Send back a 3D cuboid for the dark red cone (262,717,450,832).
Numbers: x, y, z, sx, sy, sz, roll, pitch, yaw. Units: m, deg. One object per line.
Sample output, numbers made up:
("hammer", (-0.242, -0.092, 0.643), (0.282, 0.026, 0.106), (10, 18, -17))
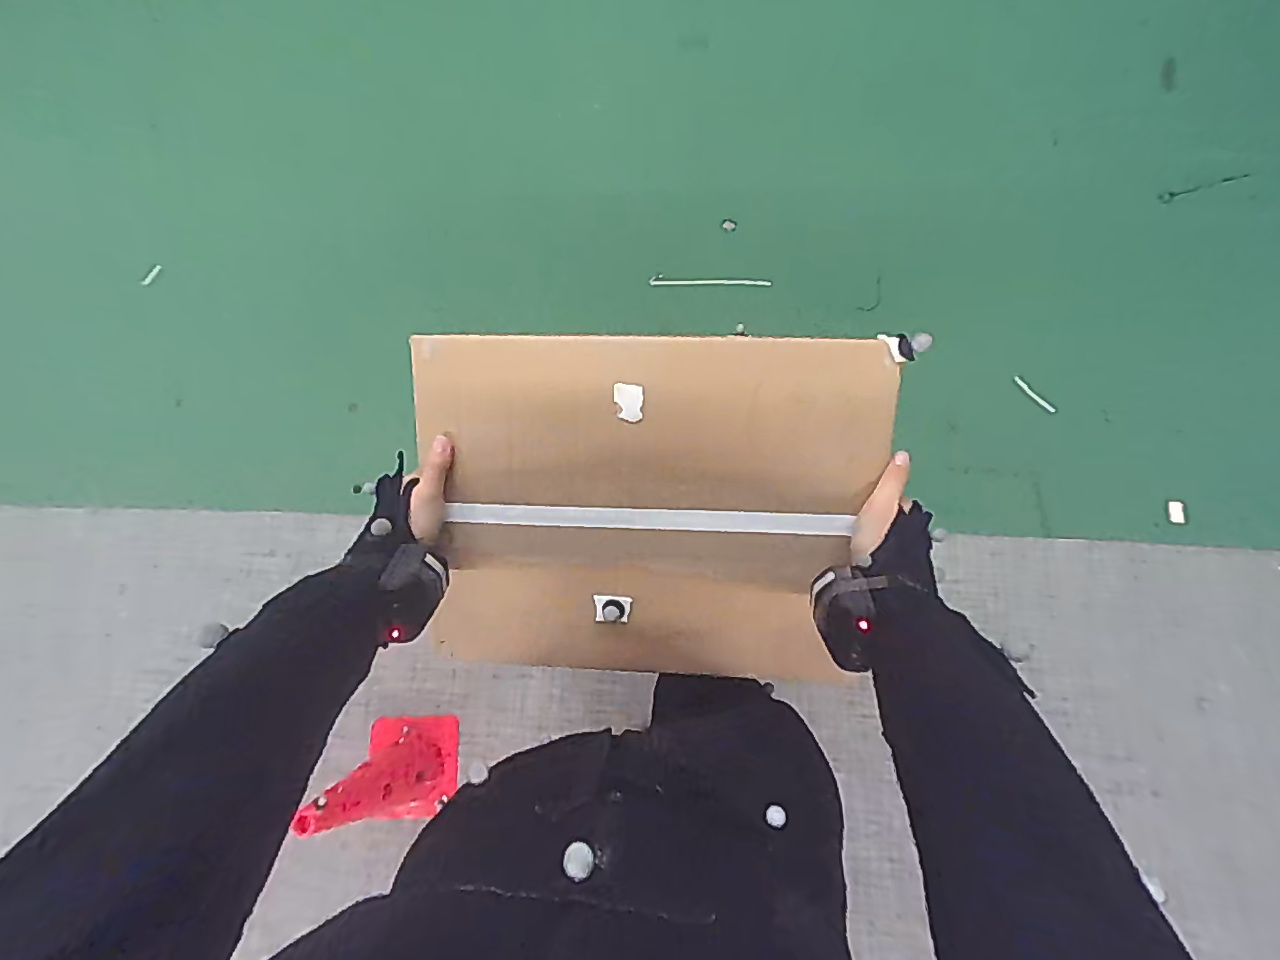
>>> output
("dark red cone", (-0.512, 0.558, 0.976), (0.202, 0.394, 0.201), (-6, 71, 4))
